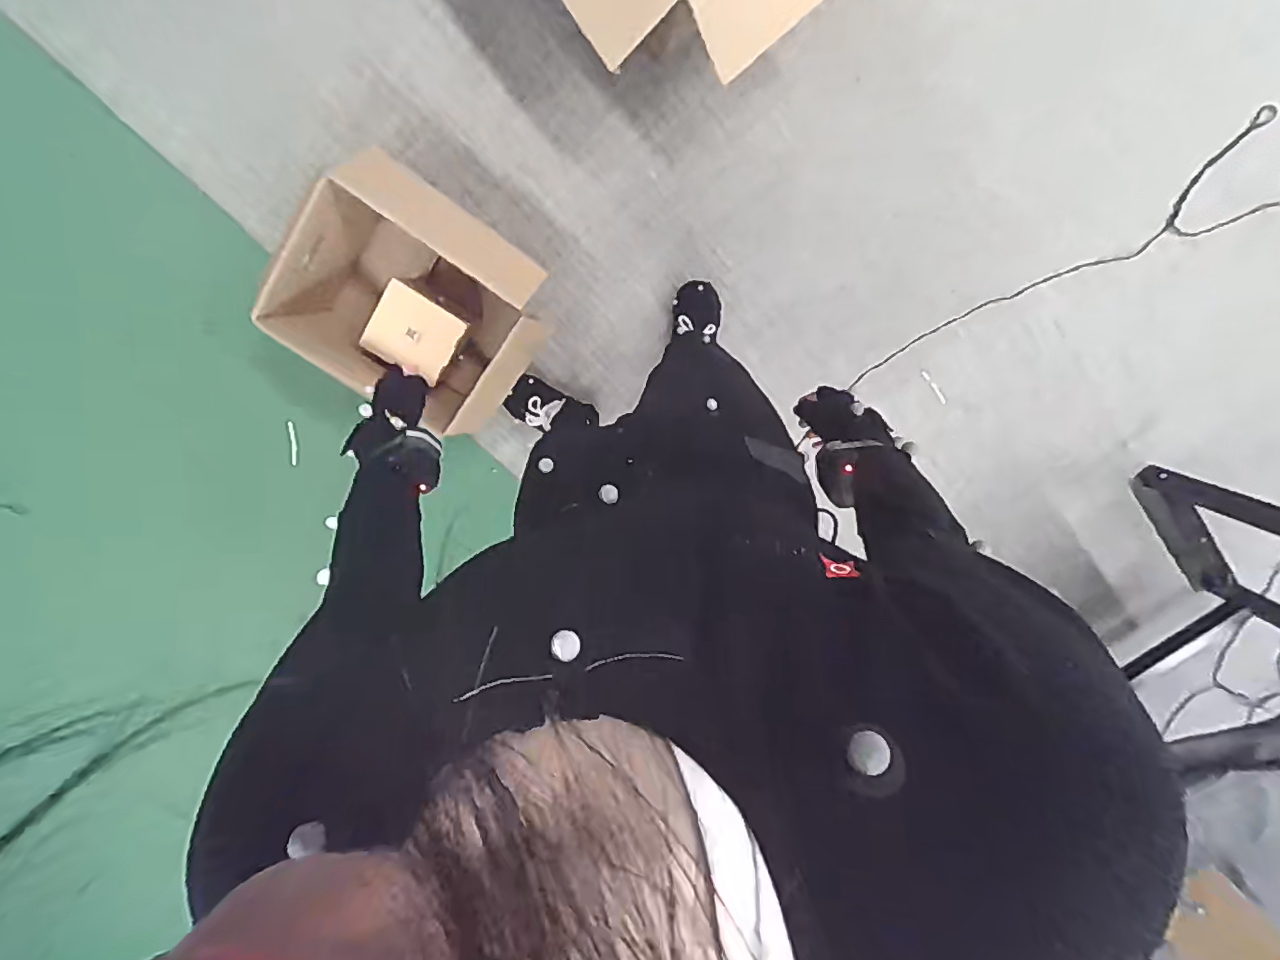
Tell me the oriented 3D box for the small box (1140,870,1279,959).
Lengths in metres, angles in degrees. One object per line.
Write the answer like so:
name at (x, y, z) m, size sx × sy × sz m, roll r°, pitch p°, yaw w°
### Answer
small box at (1.160, 0.919, 1.064) m, size 0.168 × 0.176 × 0.179 m, roll -43°, pitch 108°, yaw 11°
